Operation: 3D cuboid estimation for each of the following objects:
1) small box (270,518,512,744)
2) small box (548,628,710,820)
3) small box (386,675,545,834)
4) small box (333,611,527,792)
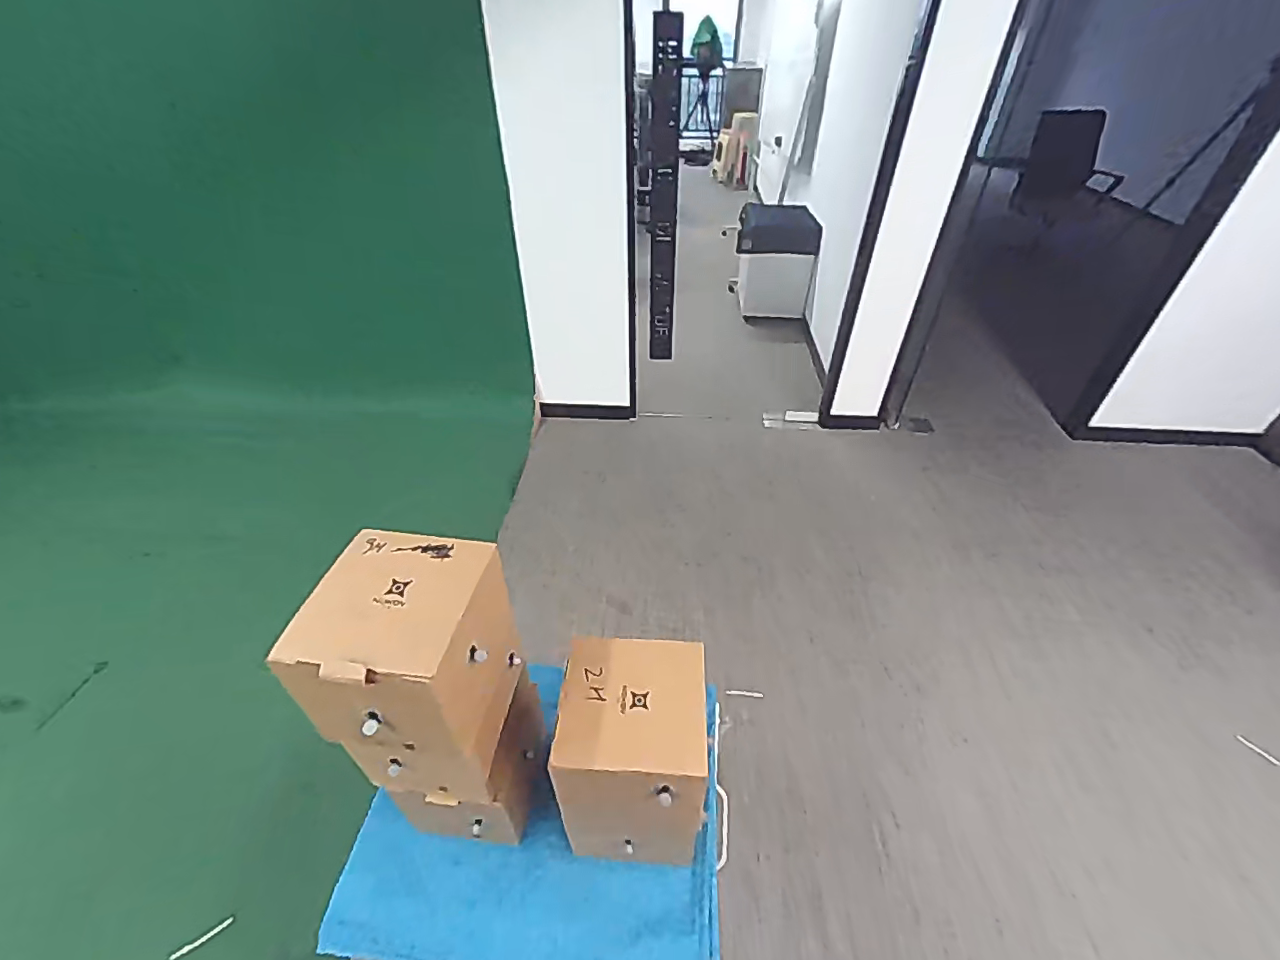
[{"bbox_3d":[-0.254,0.169,0.608,0.168,0.176,0.179,7,41,6],"label":"small box"},{"bbox_3d":[-0.006,0.311,0.688,0.179,0.176,0.168,2,40,4],"label":"small box"},{"bbox_3d":[-0.249,0.411,0.826,0.168,0.176,0.179,6,40,5],"label":"small box"},{"bbox_3d":[-0.259,0.287,0.723,0.168,0.176,0.179,6,40,6],"label":"small box"}]
